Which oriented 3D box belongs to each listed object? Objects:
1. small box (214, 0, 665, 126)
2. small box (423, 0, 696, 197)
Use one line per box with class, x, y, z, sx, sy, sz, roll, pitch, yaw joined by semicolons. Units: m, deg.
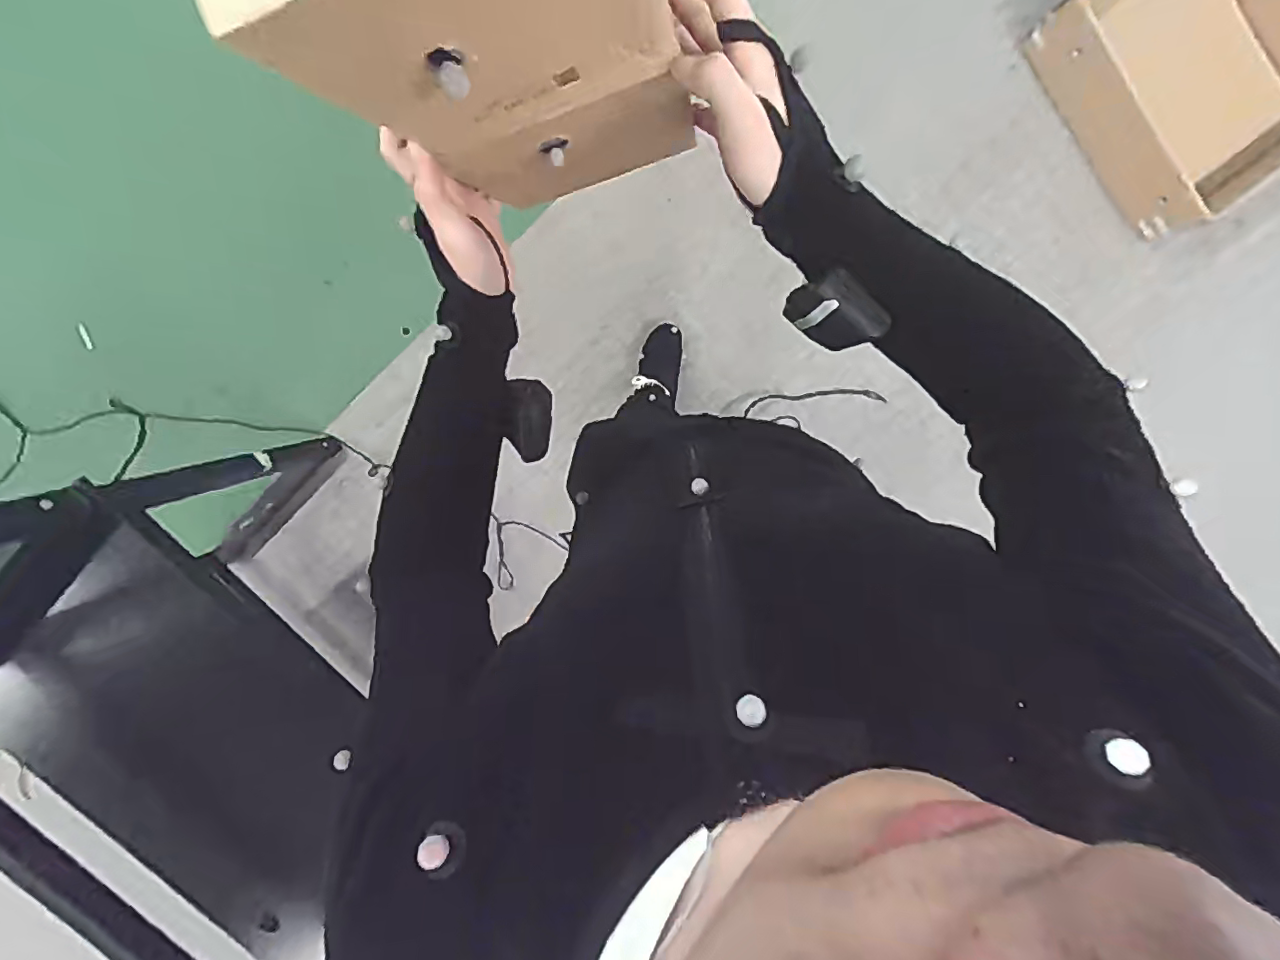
small box;-0.092;-0.294;0.248;0.168;0.176;0.179;-12;104;13
small box;-0.063;-0.333;0.402;0.179;0.176;0.168;-12;105;12
